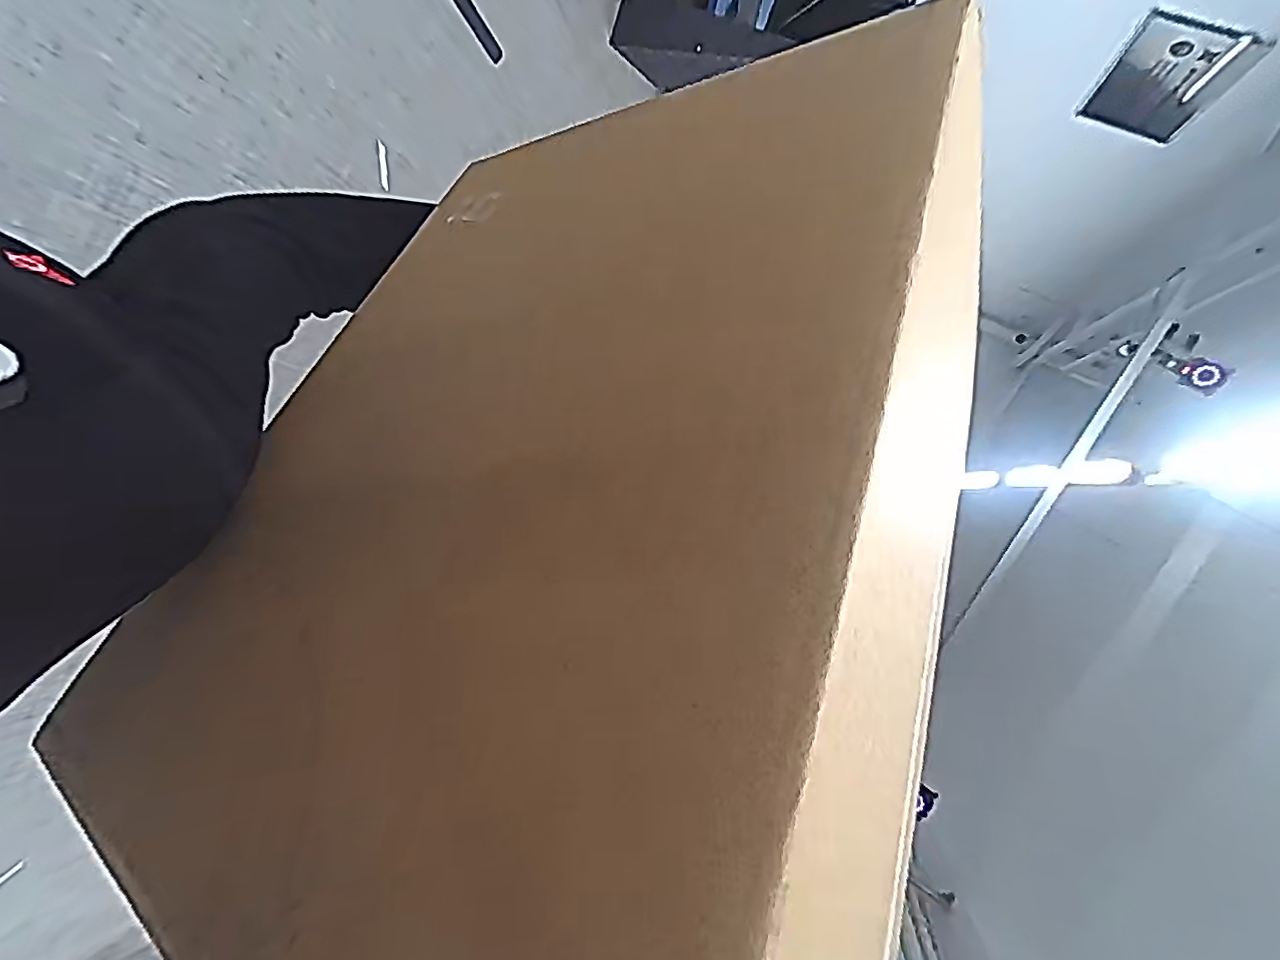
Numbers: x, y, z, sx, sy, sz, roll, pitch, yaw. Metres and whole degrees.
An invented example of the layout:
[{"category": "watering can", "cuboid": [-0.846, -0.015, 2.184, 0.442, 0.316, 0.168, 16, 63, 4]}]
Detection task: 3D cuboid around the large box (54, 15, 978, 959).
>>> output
[{"category": "large box", "cuboid": [0.003, 0.029, 0.339, 0.320, 0.320, 0.408, 52, 53, -48]}]
